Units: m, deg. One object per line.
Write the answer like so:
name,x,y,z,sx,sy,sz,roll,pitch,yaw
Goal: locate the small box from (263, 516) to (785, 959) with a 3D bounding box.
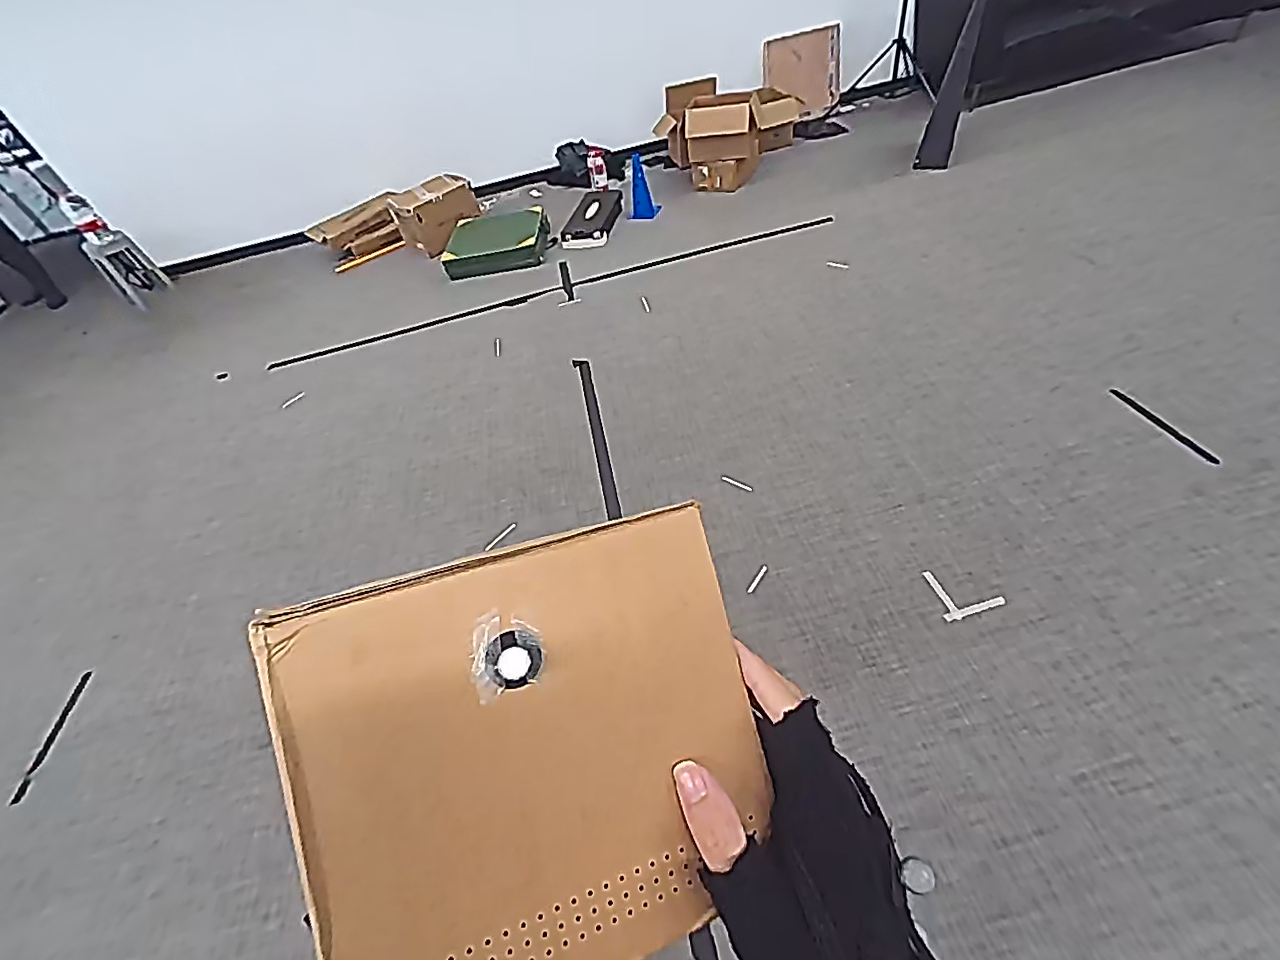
small box,-0.053,0.126,0.284,0.179,0.168,0.176,-13,87,-17
